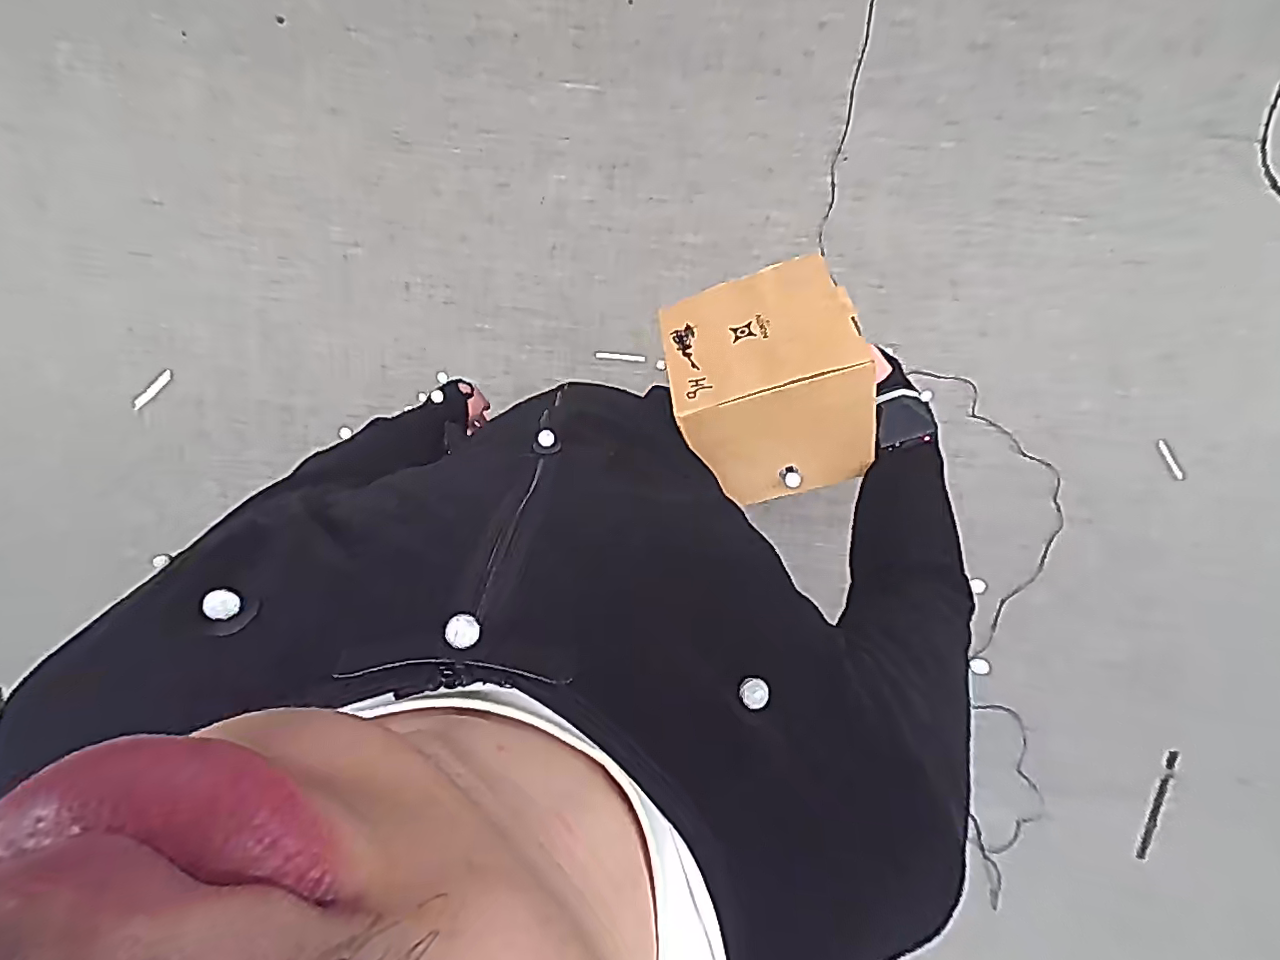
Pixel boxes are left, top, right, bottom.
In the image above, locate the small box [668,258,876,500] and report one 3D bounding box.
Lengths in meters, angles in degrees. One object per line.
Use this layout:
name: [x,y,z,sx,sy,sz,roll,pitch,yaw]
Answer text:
small box: [0.142,-0.102,0.594,0.179,0.168,0.176,-15,141,13]
